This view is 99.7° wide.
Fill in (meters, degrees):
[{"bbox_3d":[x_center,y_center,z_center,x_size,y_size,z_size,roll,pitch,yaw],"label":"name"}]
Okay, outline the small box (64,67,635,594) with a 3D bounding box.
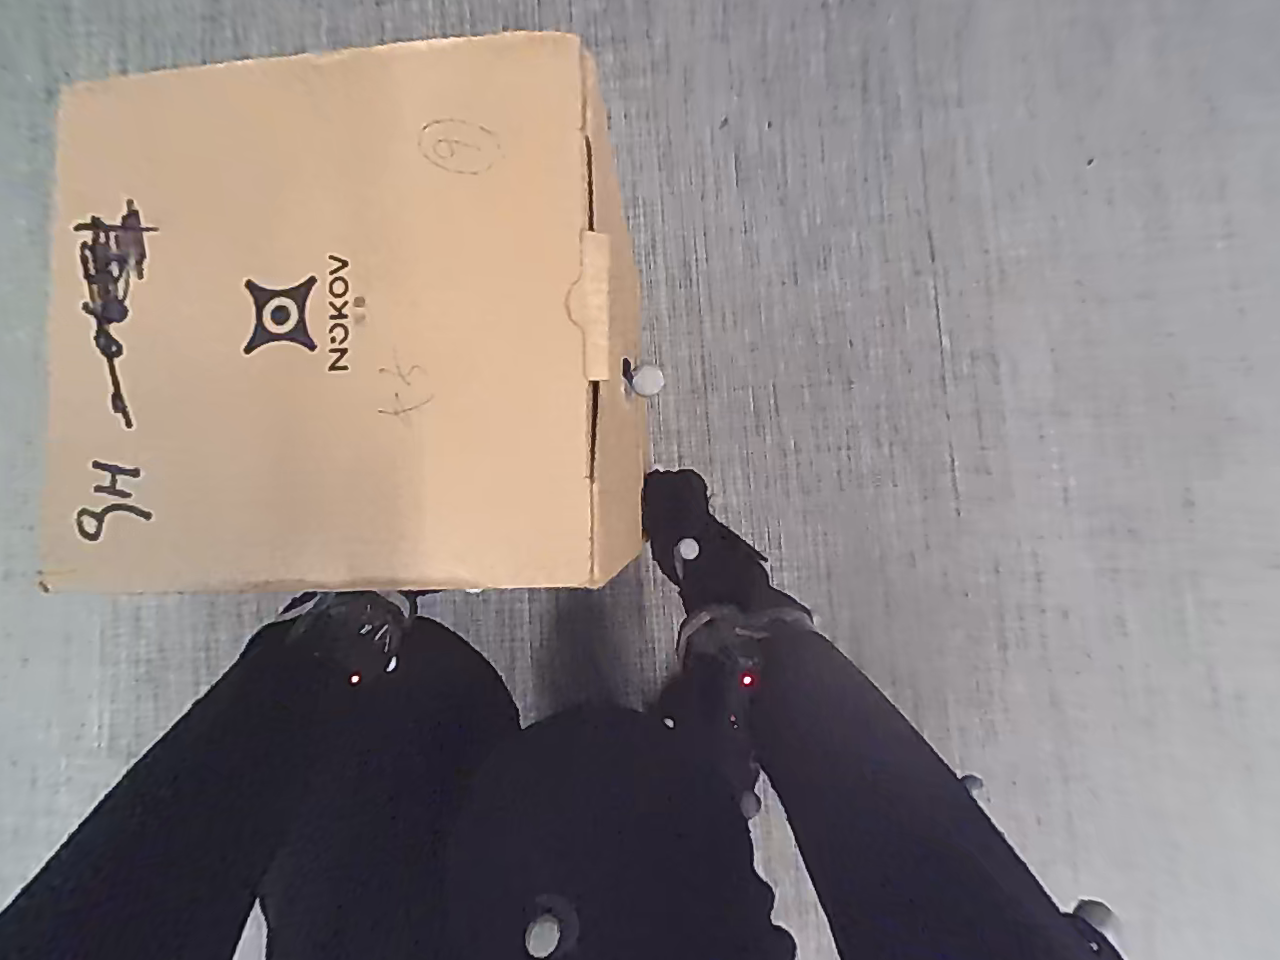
[{"bbox_3d":[-0.093,-0.042,0.251,0.179,0.176,0.168,-1,86,4],"label":"small box"}]
